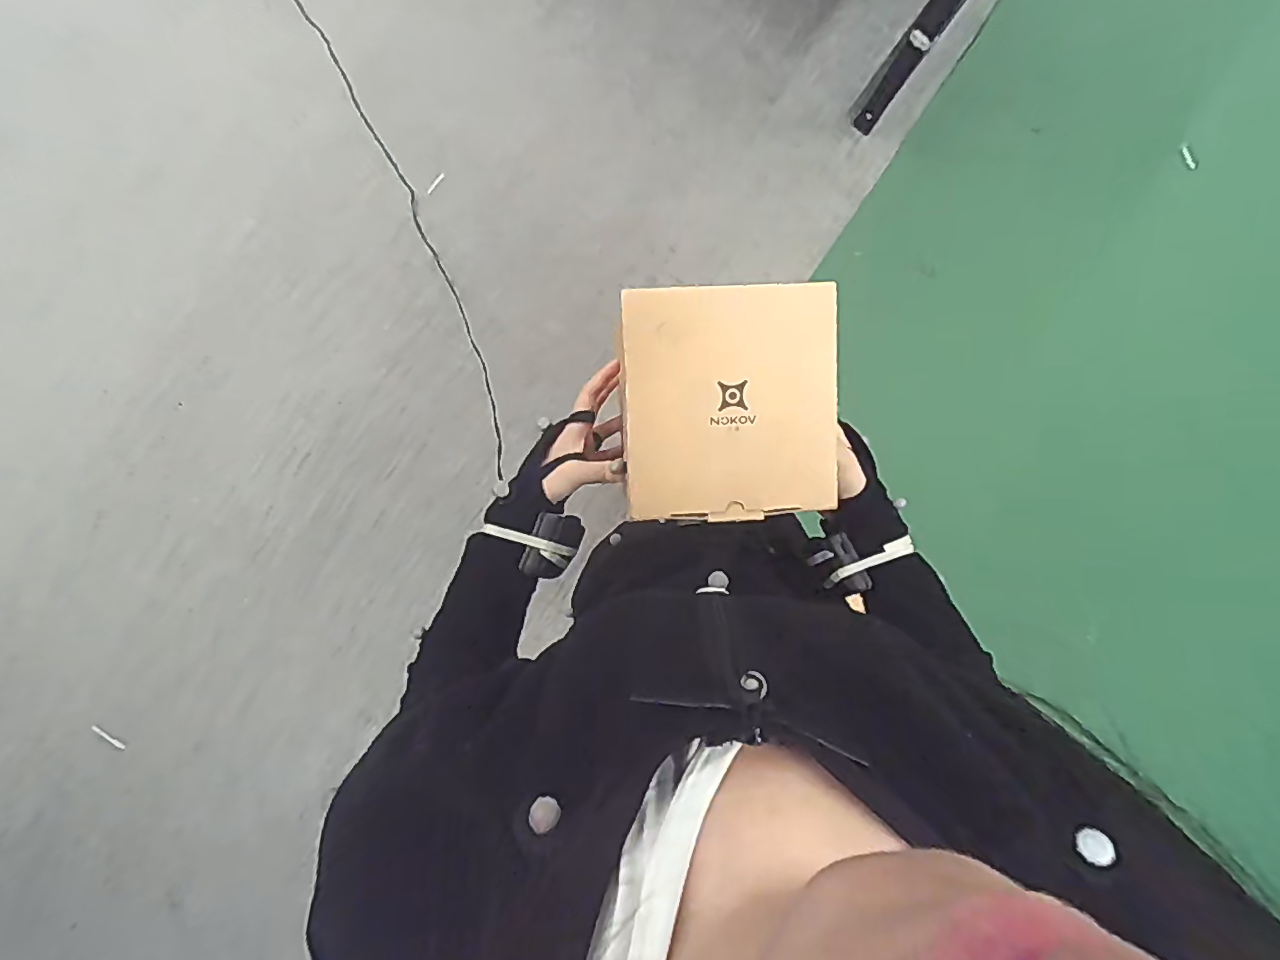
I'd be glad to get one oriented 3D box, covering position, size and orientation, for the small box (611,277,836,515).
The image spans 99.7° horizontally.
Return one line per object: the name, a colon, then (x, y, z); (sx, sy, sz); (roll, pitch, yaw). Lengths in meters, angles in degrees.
small box: (0.062, -0.071, 0.489); (0.168, 0.176, 0.179); (-4, 97, -4)
